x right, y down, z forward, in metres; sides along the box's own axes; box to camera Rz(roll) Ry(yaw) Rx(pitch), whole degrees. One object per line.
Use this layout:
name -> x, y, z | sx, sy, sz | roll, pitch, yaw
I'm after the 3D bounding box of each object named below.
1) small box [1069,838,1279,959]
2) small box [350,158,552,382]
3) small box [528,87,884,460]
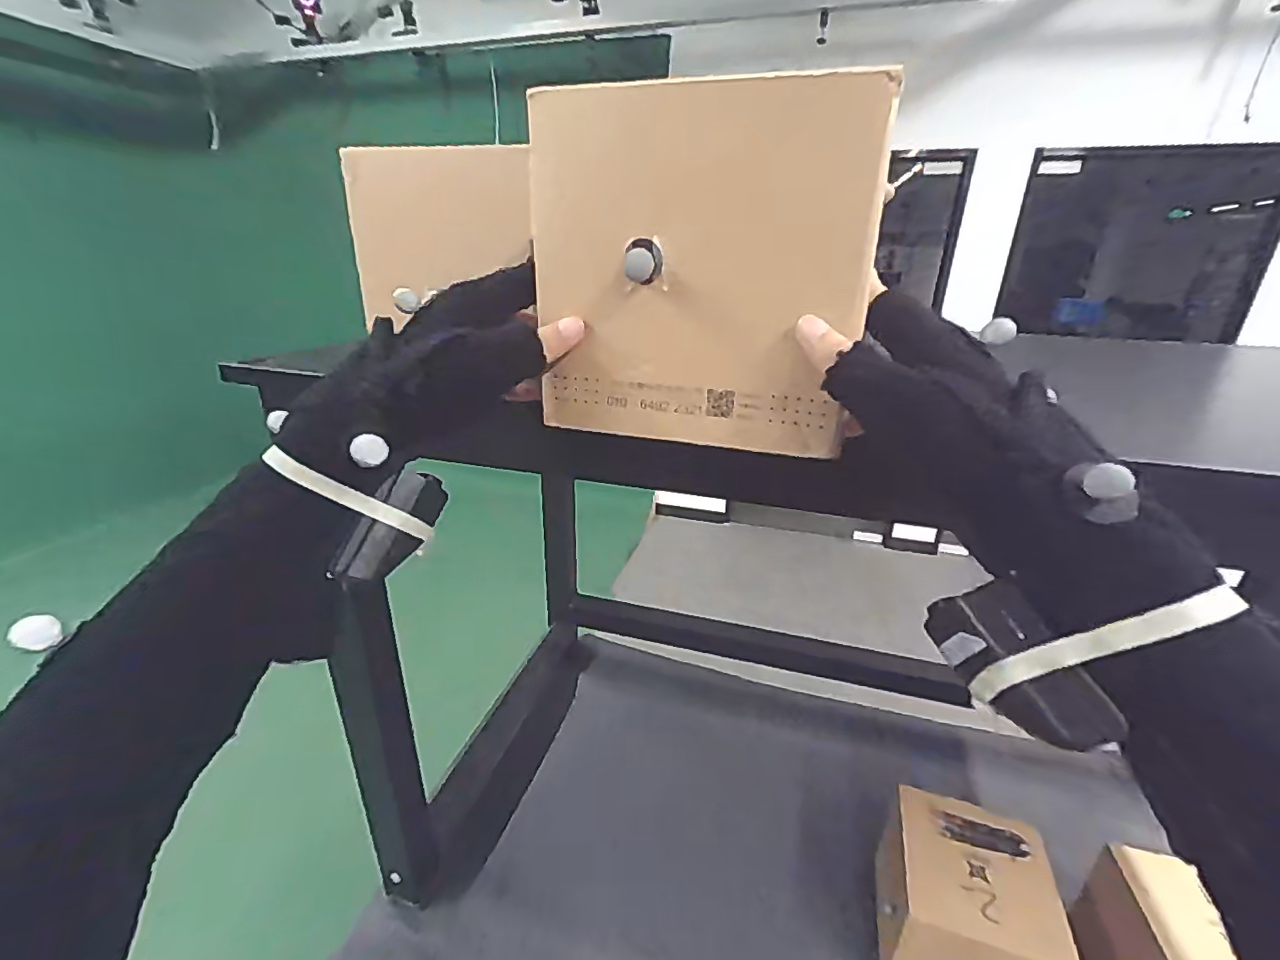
small box -> 0.636, 0.565, 0.613 | 0.168, 0.176, 0.179 | 7, 22, 14
small box -> -0.138, -0.200, 0.520 | 0.168, 0.176, 0.179 | 7, 24, 14
small box -> 0.048, -0.120, 0.344 | 0.168, 0.176, 0.179 | 8, 23, 16
